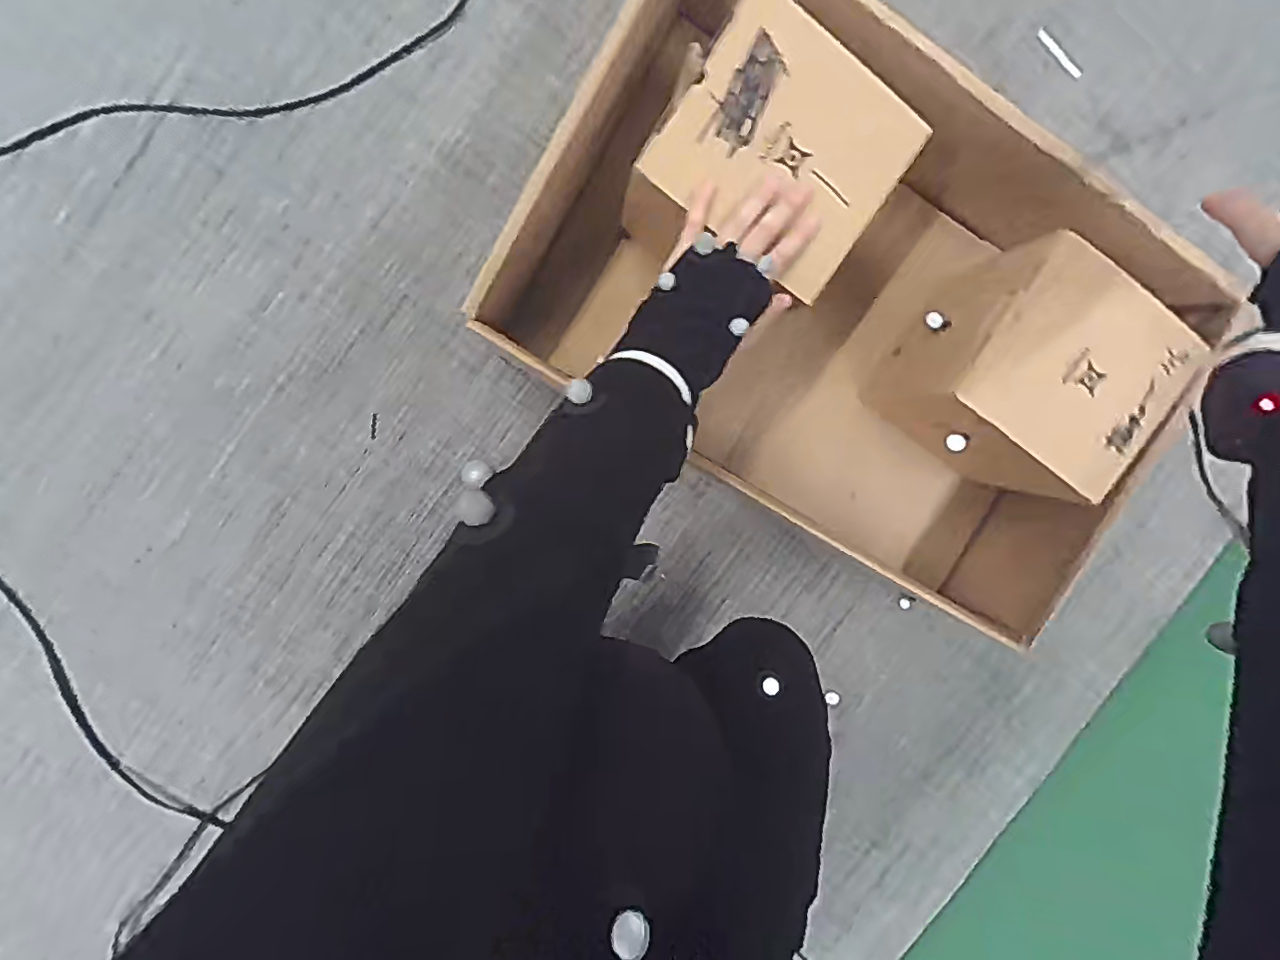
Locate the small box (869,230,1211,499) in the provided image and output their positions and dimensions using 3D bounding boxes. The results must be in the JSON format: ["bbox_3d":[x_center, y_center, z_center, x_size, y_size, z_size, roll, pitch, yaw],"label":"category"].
[{"bbox_3d":[0.370,-0.103,0.538,0.179,0.176,0.168,35,93,-7],"label":"small box"}]
